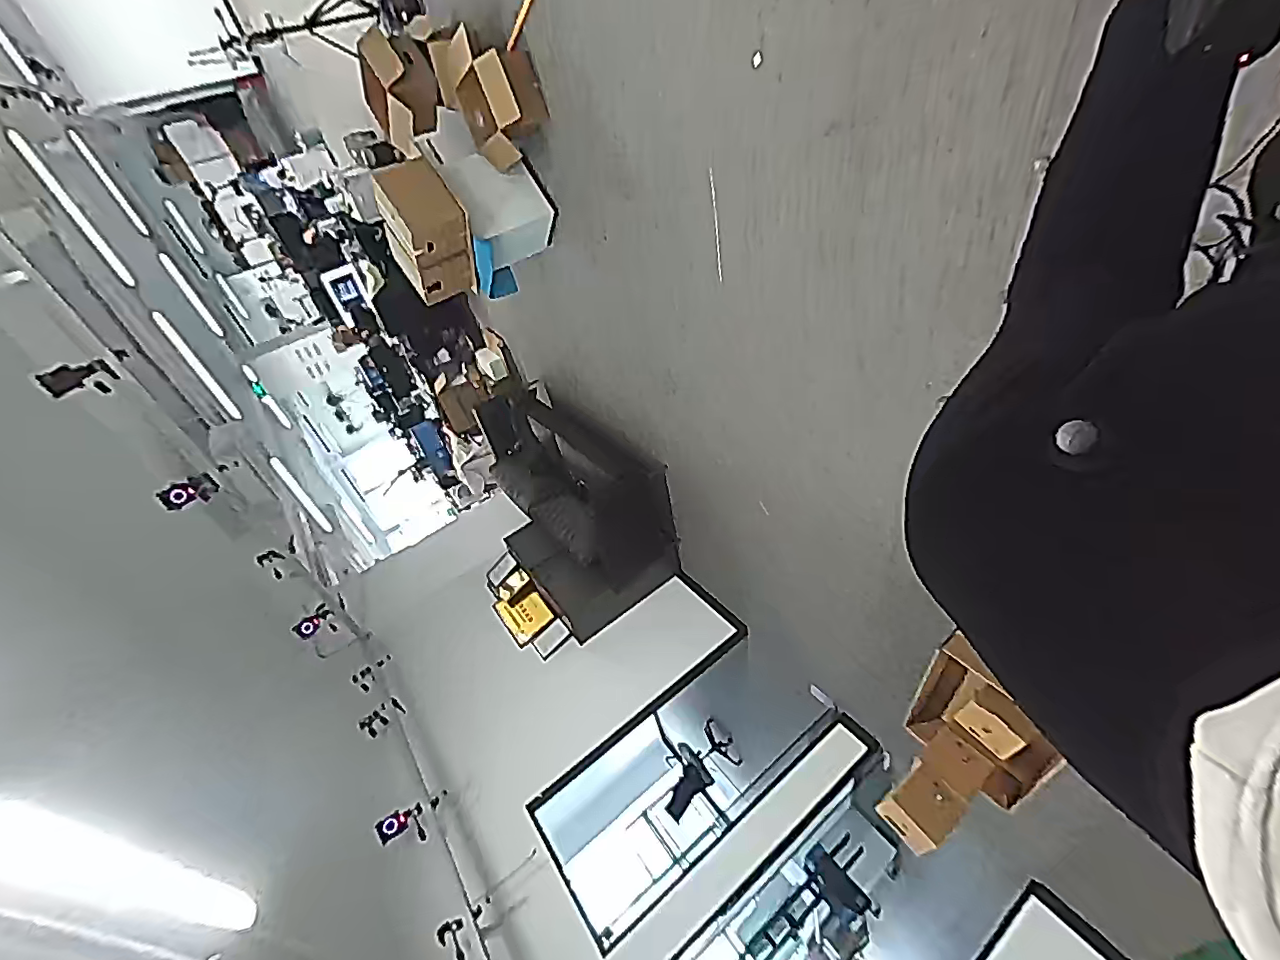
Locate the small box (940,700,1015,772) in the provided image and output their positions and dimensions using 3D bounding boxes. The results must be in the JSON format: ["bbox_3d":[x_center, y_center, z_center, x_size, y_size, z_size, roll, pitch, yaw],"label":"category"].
[{"bbox_3d":[1.129,0.891,1.837,0.168,0.176,0.179,38,150,40],"label":"small box"}]

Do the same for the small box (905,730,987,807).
[{"bbox_3d":[1.000,0.966,1.774,0.168,0.176,0.179,39,150,41],"label":"small box"}]

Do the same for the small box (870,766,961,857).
[{"bbox_3d":[0.872,1.049,1.712,0.168,0.176,0.179,44,152,33],"label":"small box"}]
